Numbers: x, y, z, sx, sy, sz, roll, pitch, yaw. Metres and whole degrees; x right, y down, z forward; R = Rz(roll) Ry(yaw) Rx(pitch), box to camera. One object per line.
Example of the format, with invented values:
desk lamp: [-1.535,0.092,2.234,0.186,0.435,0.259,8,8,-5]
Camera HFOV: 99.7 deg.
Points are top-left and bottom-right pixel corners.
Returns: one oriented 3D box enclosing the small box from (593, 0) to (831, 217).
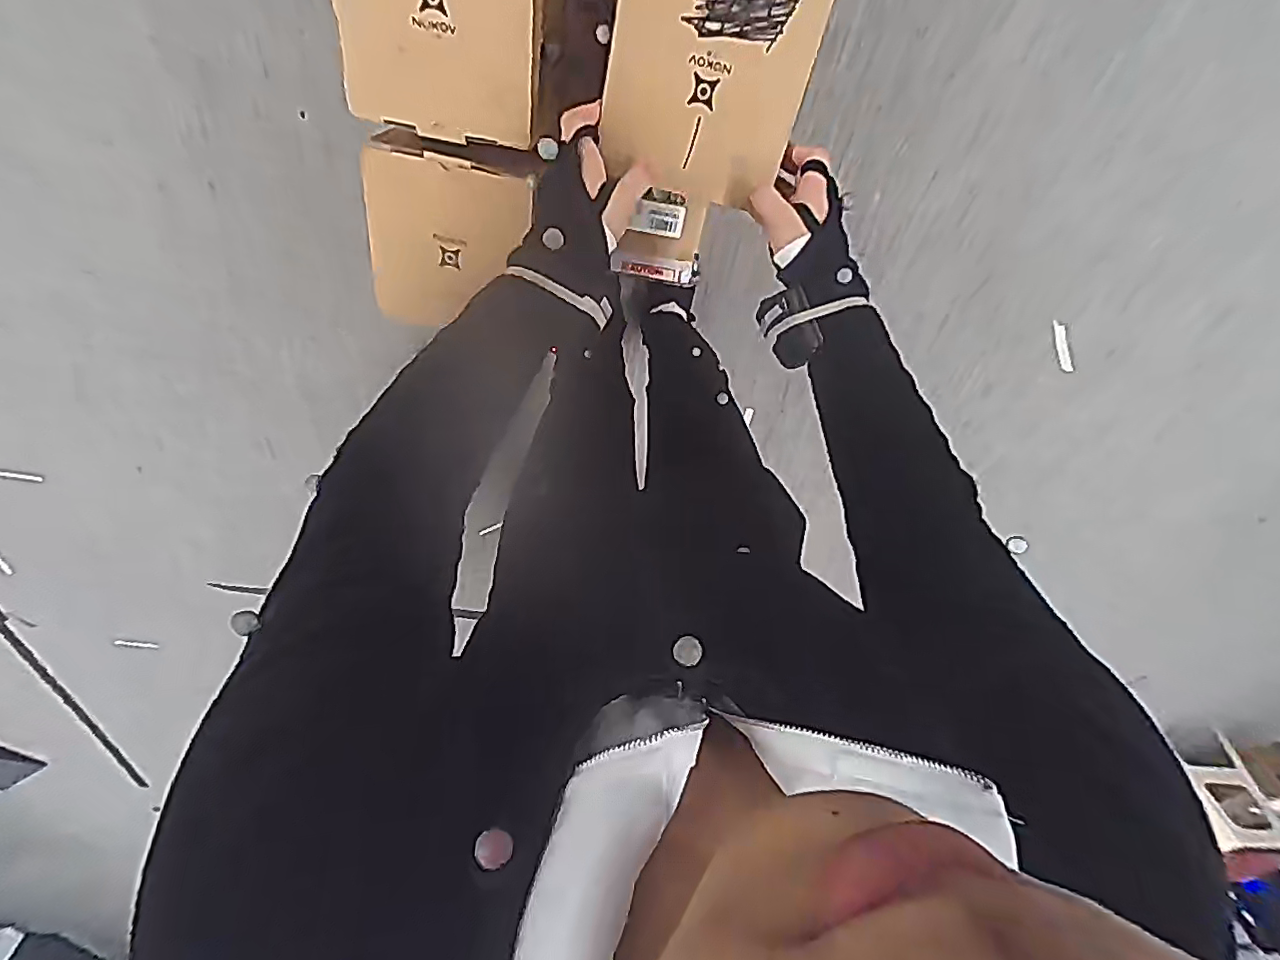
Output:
small box: [0.049,-0.374,0.512,0.168,0.176,0.179,9,124,-10]
